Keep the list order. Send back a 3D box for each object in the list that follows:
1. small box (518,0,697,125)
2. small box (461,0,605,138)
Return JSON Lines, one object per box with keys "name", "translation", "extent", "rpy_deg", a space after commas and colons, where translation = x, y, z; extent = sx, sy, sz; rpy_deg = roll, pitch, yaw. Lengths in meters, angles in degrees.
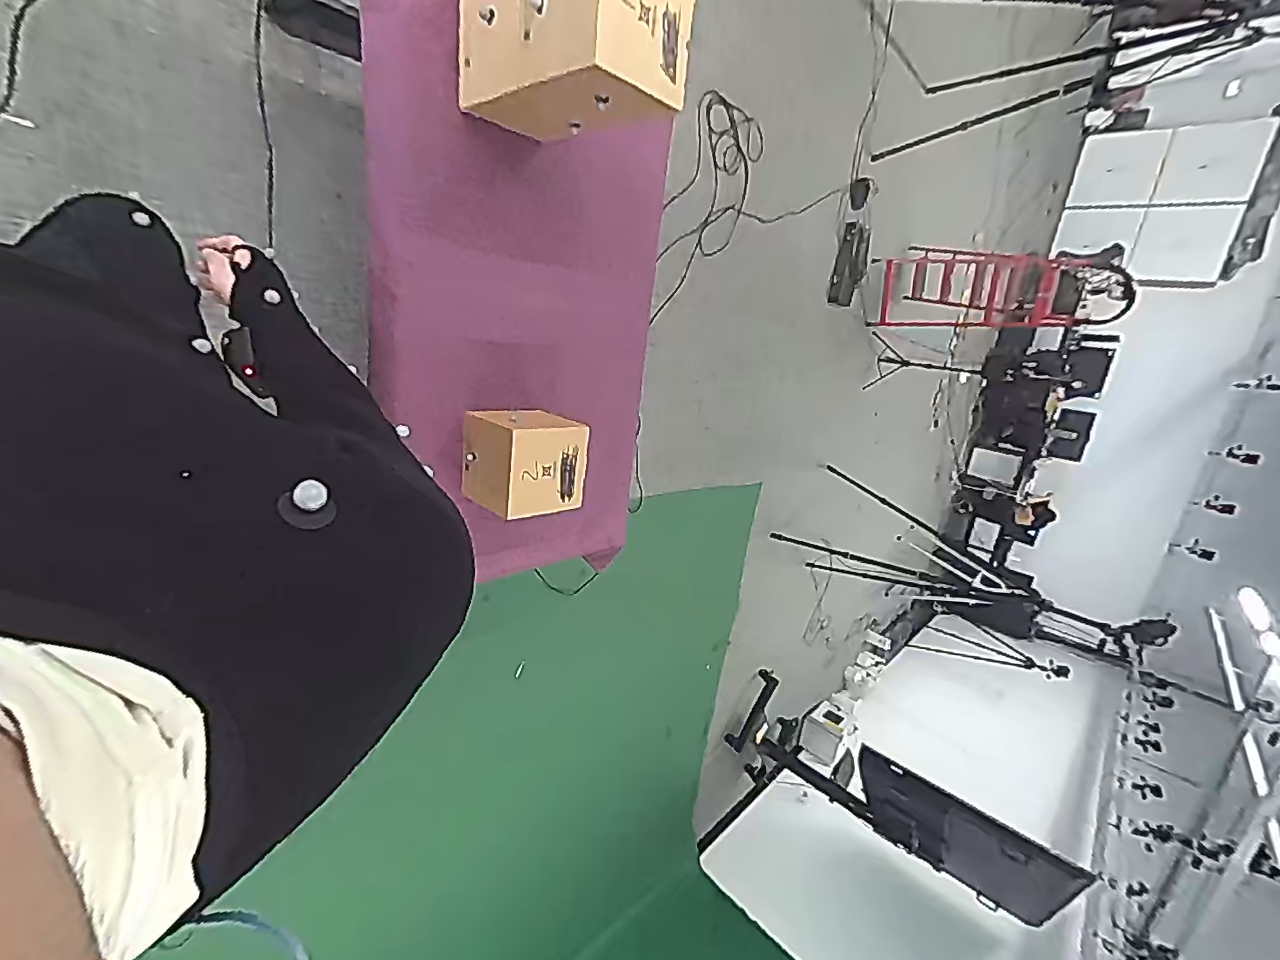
{"name": "small box", "translation": [-0.045, -0.616, 0.748], "extent": [0.179, 0.176, 0.168], "rpy_deg": [-11, 113, -45]}
{"name": "small box", "translation": [-0.165, -0.661, 0.851], "extent": [0.179, 0.176, 0.168], "rpy_deg": [-12, 115, -46]}
